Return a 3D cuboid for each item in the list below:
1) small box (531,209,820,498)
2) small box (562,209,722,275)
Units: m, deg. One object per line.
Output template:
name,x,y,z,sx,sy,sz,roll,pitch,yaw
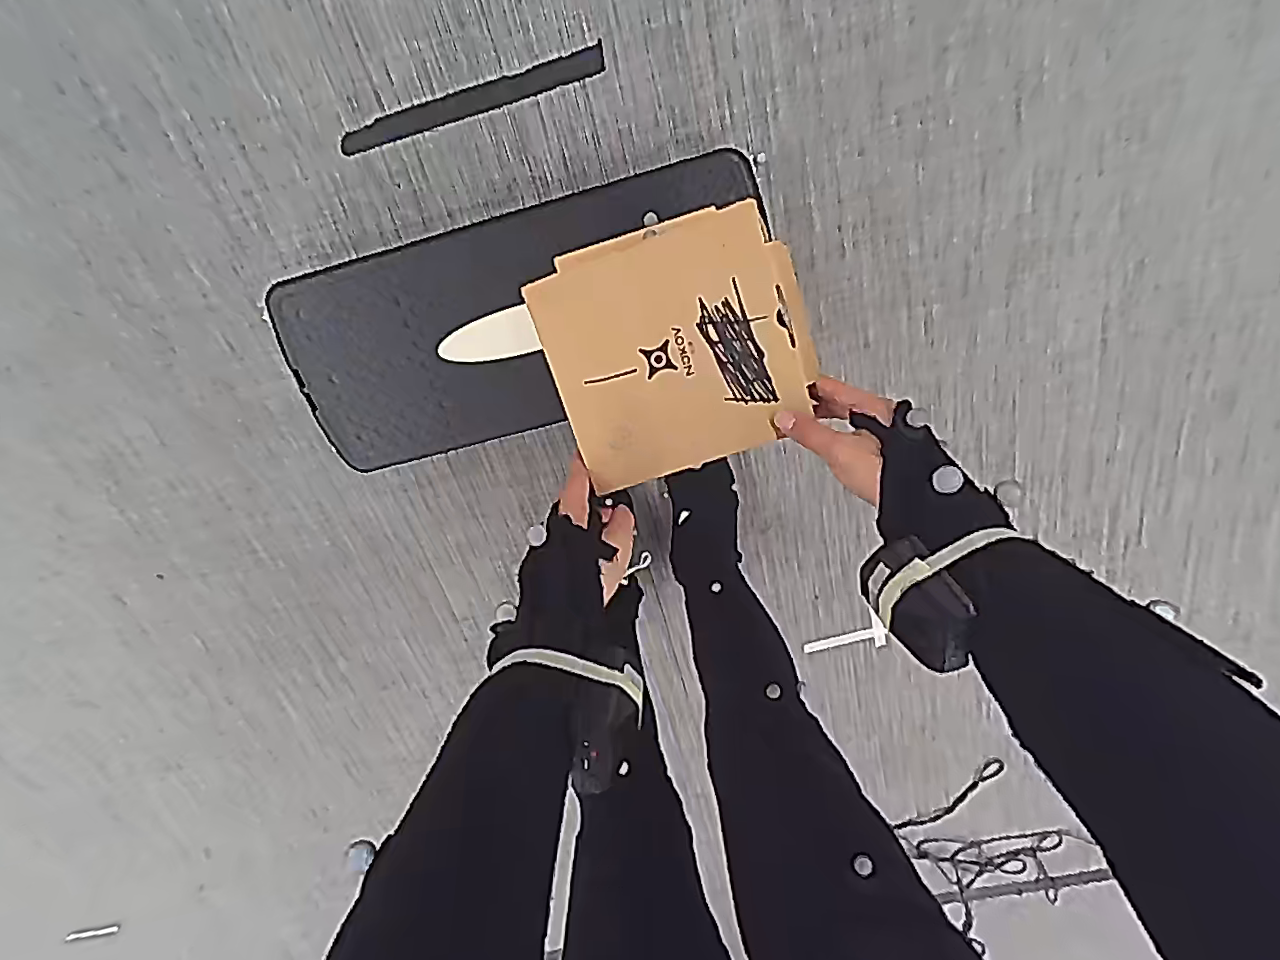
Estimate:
small box,0.032,-0.102,0.468,0.179,0.176,0.168,-17,99,8
small box,0.020,-0.191,0.626,0.168,0.176,0.179,-15,113,6
